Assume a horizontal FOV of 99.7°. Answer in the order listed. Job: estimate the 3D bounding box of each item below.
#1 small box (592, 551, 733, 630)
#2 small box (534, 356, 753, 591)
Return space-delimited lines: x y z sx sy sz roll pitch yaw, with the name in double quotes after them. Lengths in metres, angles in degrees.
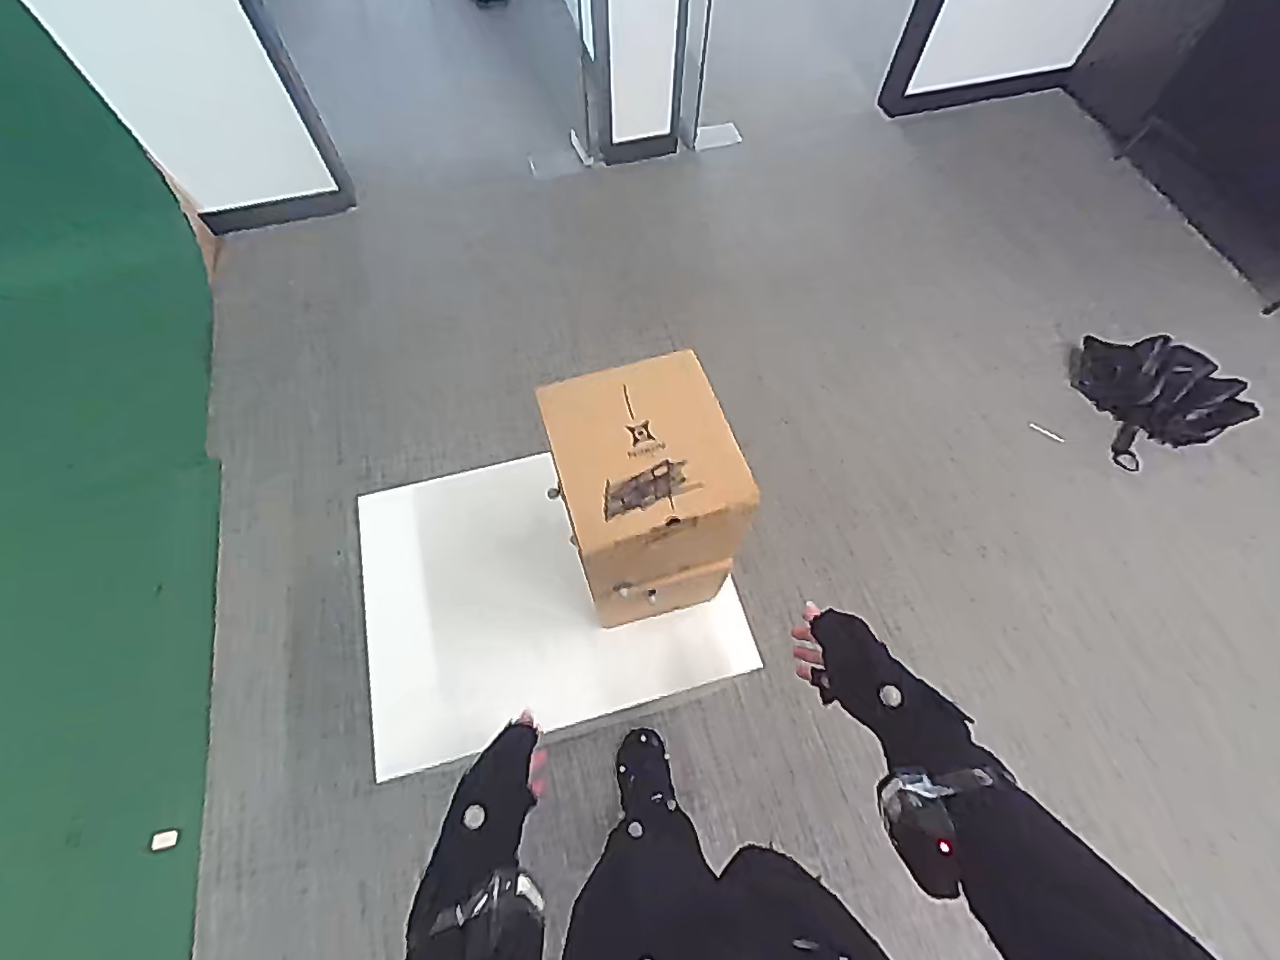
0.008 0.081 0.716 0.168 0.176 0.179 -14 65 -6 "small box"
0.000 0.006 0.570 0.168 0.176 0.179 -17 65 -7 "small box"
